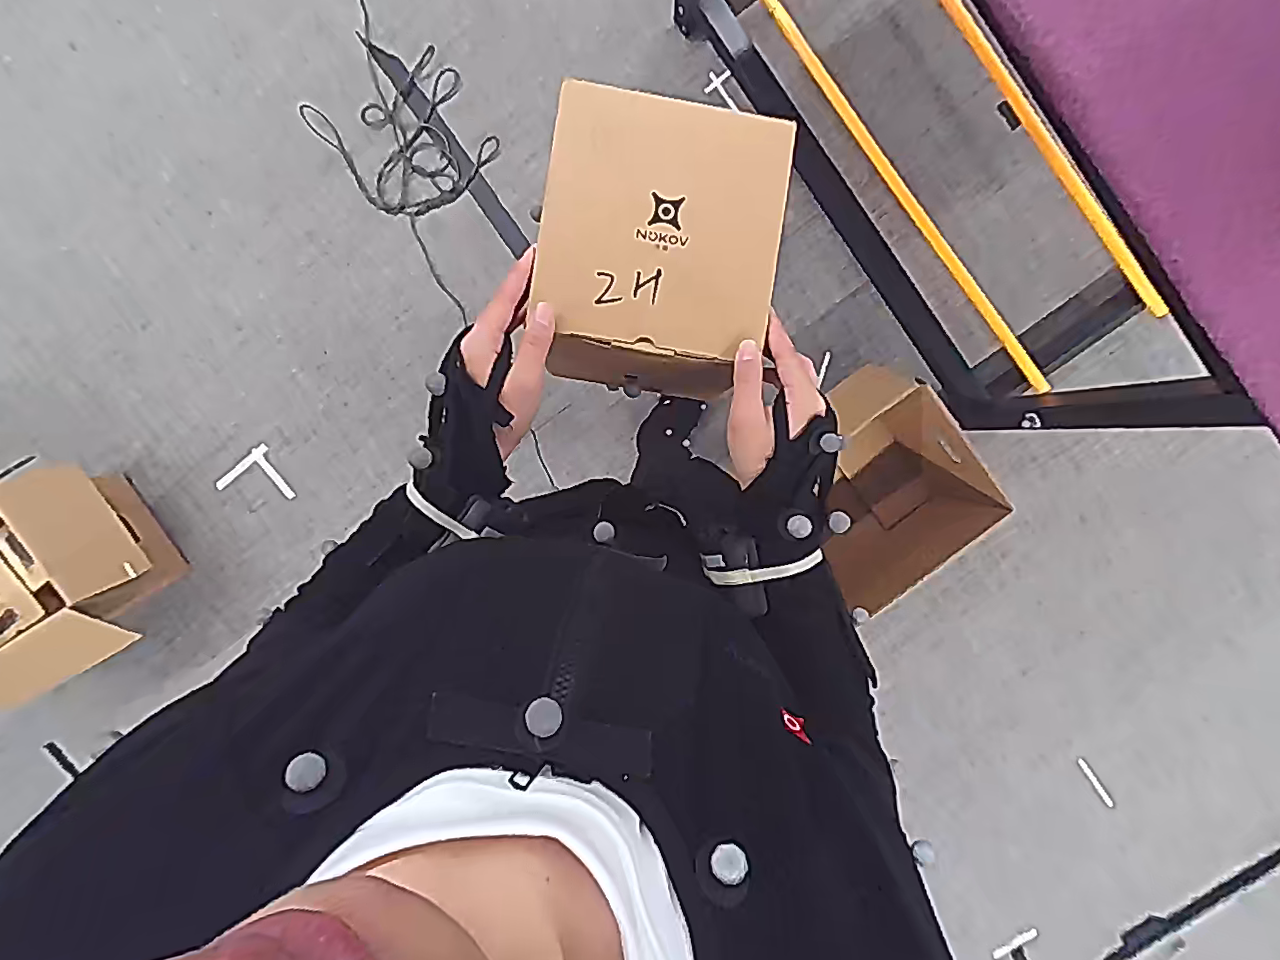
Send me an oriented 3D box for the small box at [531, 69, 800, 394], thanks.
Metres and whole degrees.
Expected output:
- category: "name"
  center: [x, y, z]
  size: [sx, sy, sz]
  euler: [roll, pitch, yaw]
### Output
- category: "small box"
  center: [0.014, -0.180, 0.448]
  size: [0.168, 0.176, 0.179]
  euler: [9, 90, -3]
